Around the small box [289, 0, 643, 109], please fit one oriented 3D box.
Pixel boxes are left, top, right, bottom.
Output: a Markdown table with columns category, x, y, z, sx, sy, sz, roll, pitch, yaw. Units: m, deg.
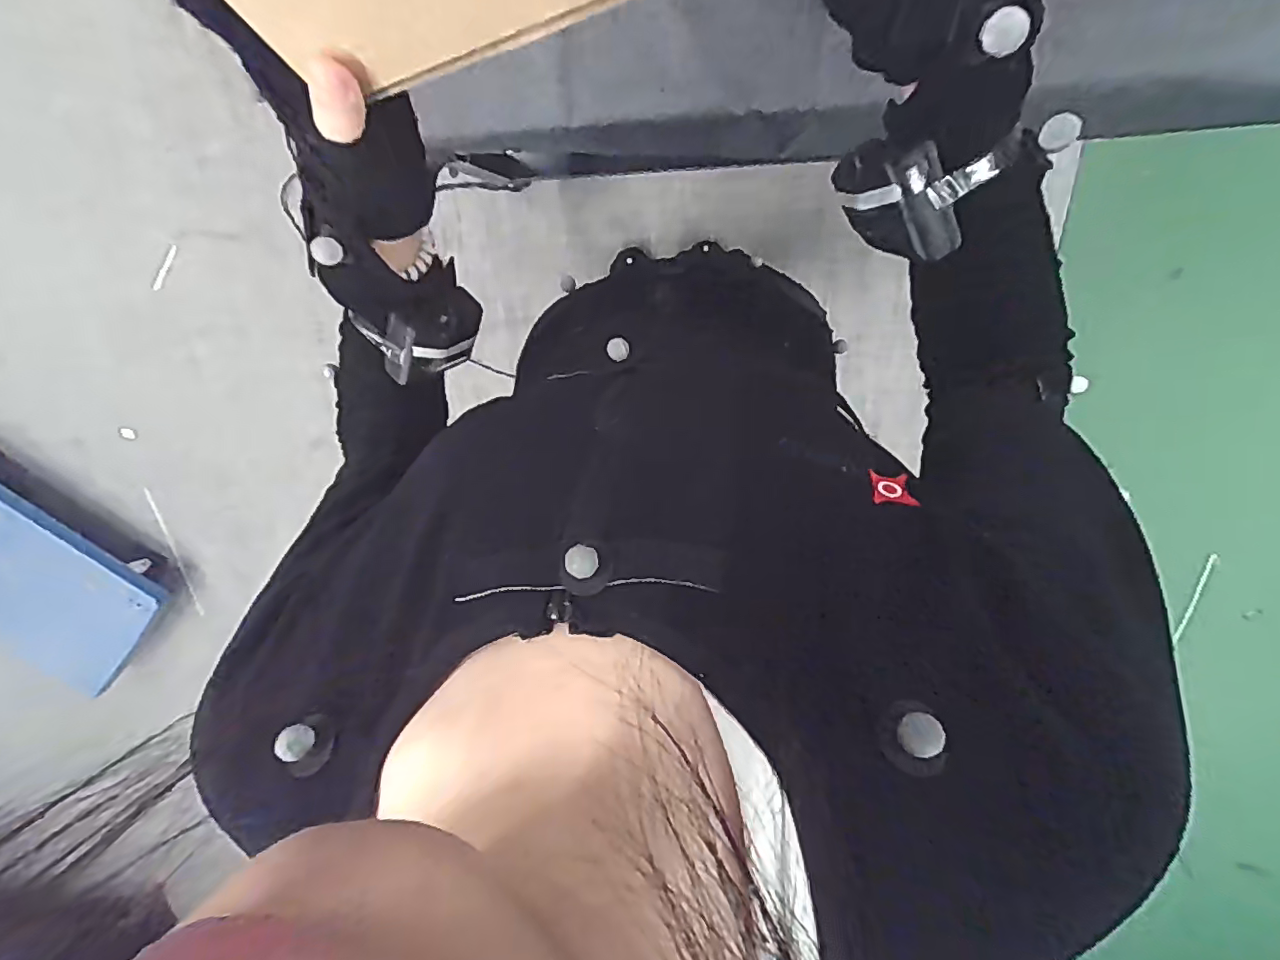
| category | x | y | z | sx | sy | sz | roll | pitch | yaw |
| --- | --- | --- | --- | --- | --- | --- | --- | --- | --- |
| small box | -0.066 | -0.259 | 0.144 | 0.179 | 0.176 | 0.168 | -6 | 73 | 18 |
